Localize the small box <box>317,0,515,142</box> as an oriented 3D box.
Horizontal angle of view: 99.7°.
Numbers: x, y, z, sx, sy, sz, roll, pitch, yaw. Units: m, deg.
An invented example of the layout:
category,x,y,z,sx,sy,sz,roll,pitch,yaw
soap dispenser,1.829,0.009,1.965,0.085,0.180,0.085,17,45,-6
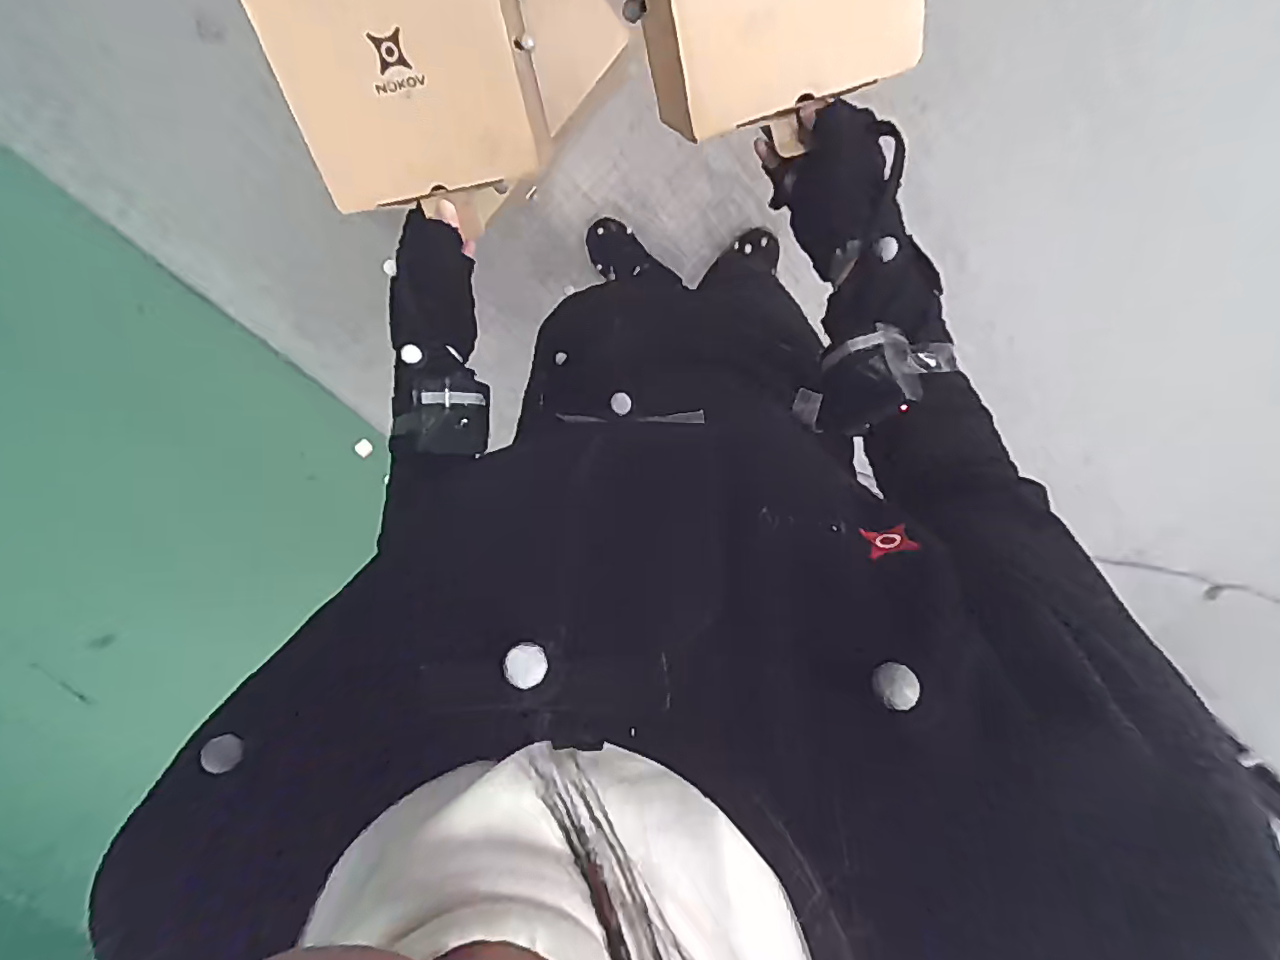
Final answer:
category,x,y,z,sx,sy,sz,roll,pitch,yaw
small box,-0.289,-0.601,0.742,0.179,0.176,0.168,-35,119,16
